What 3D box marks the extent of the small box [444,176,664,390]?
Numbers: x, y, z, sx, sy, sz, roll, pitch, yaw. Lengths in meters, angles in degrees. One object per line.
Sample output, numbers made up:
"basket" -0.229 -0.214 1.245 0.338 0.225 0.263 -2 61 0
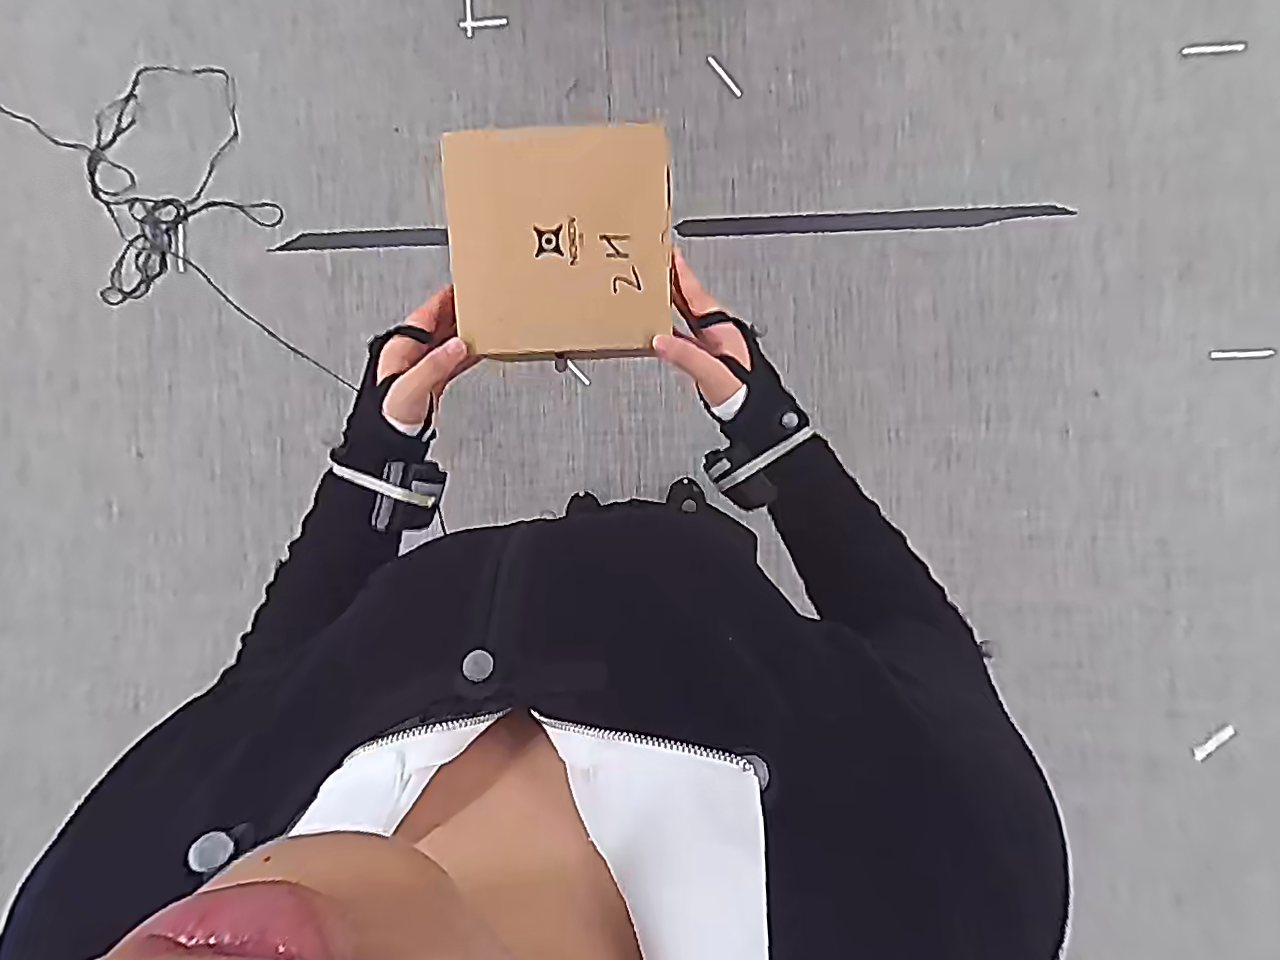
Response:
"small box" -0.066 -0.170 0.516 0.179 0.176 0.168 -1 100 0
